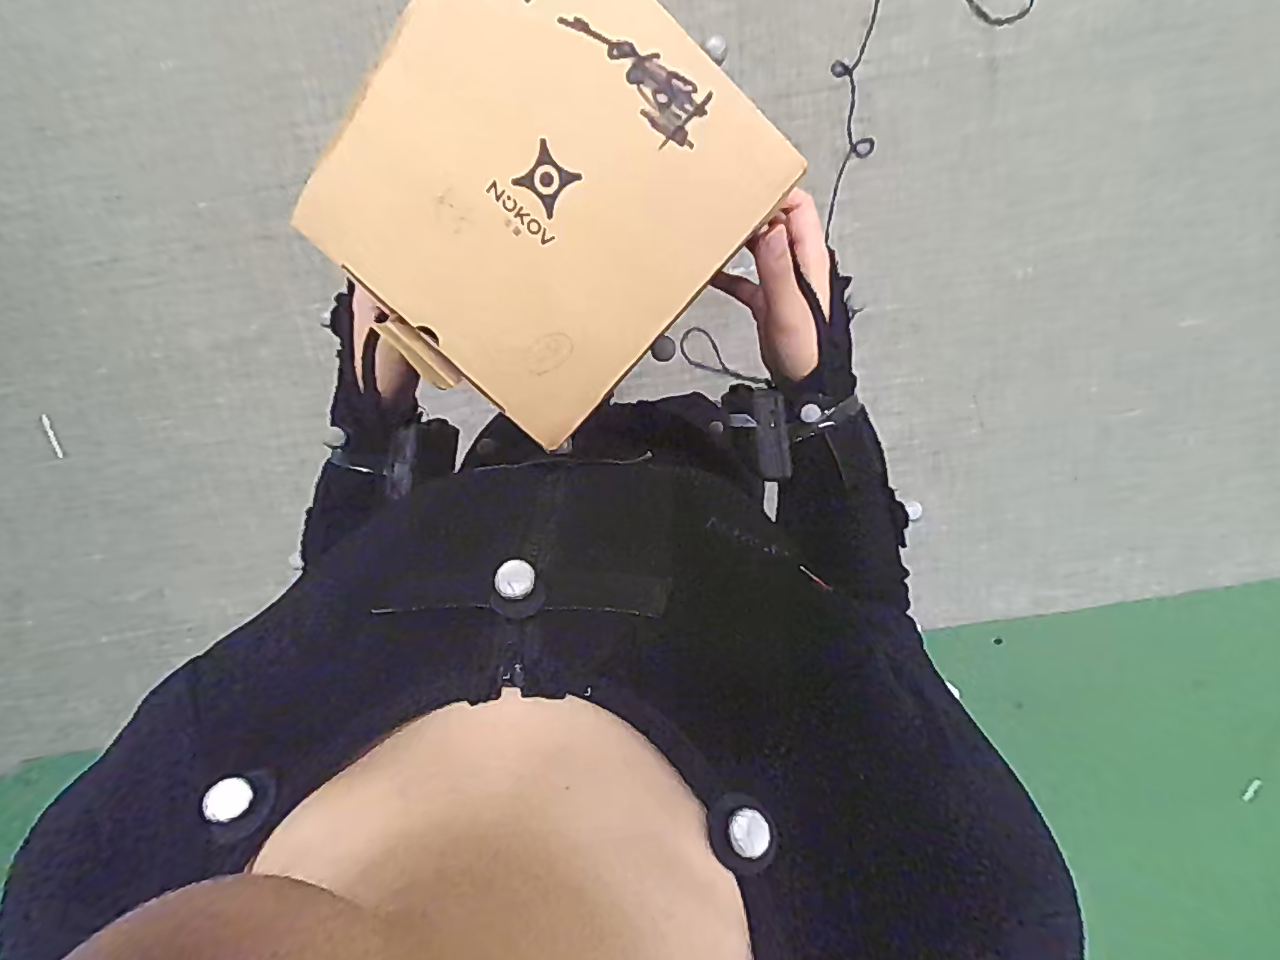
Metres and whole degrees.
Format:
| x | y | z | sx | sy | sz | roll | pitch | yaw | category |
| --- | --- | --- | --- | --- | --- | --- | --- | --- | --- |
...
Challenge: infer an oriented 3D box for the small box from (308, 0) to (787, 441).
| x | y | z | sx | sy | sz | roll | pitch | yaw | category |
| --- | --- | --- | --- | --- | --- | --- | --- | --- | --- |
| -0.039 | -0.155 | 0.324 | 0.168 | 0.176 | 0.179 | 41 | 108 | -8 | small box |
